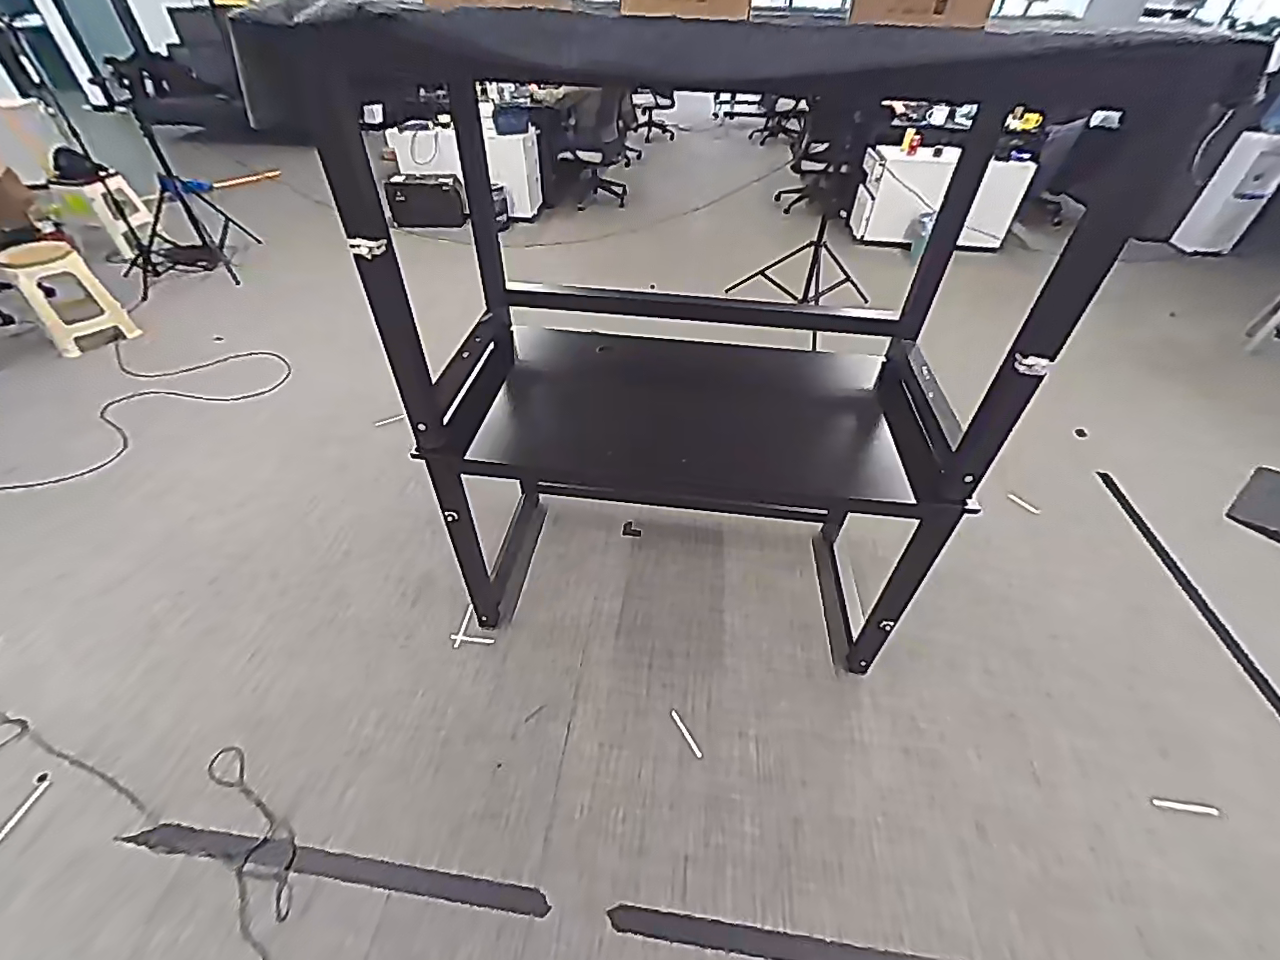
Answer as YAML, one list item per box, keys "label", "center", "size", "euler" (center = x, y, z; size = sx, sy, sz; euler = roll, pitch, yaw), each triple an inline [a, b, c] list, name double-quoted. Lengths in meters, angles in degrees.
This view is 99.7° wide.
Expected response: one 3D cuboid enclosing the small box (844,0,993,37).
- label: "small box"
  center: [0.363, -0.671, 0.681]
  size: [0.168, 0.176, 0.179]
  euler: [11, 43, 10]
